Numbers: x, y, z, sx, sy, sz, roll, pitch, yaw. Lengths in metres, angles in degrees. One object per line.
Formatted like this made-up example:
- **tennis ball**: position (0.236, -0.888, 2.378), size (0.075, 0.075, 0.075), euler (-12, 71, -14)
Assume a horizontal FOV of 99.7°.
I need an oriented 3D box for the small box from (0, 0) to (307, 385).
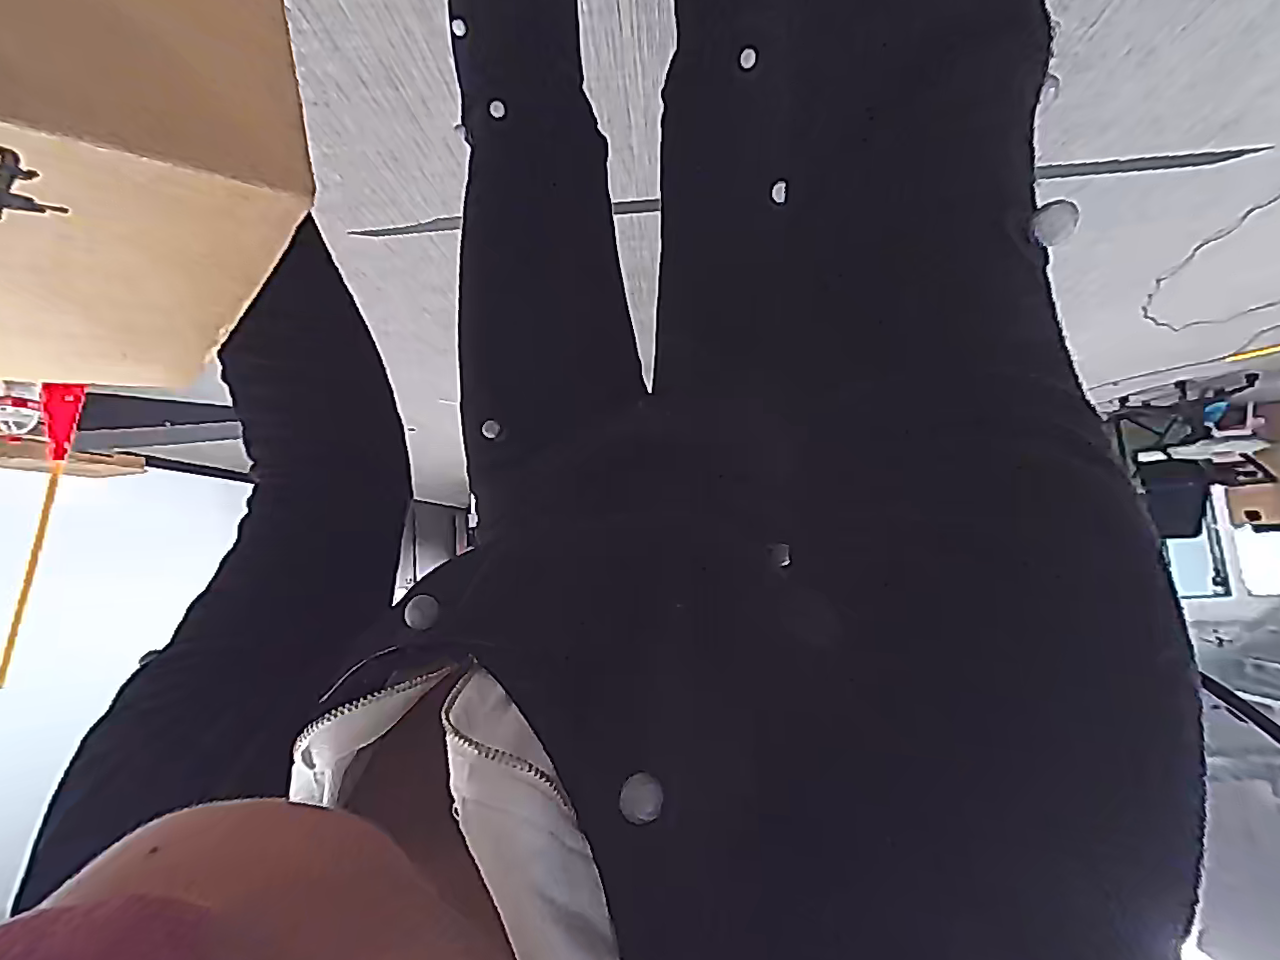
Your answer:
- **small box**: position (-0.202, -0.125, 0.119), size (0.179, 0.176, 0.168), euler (-9, 180, 41)
